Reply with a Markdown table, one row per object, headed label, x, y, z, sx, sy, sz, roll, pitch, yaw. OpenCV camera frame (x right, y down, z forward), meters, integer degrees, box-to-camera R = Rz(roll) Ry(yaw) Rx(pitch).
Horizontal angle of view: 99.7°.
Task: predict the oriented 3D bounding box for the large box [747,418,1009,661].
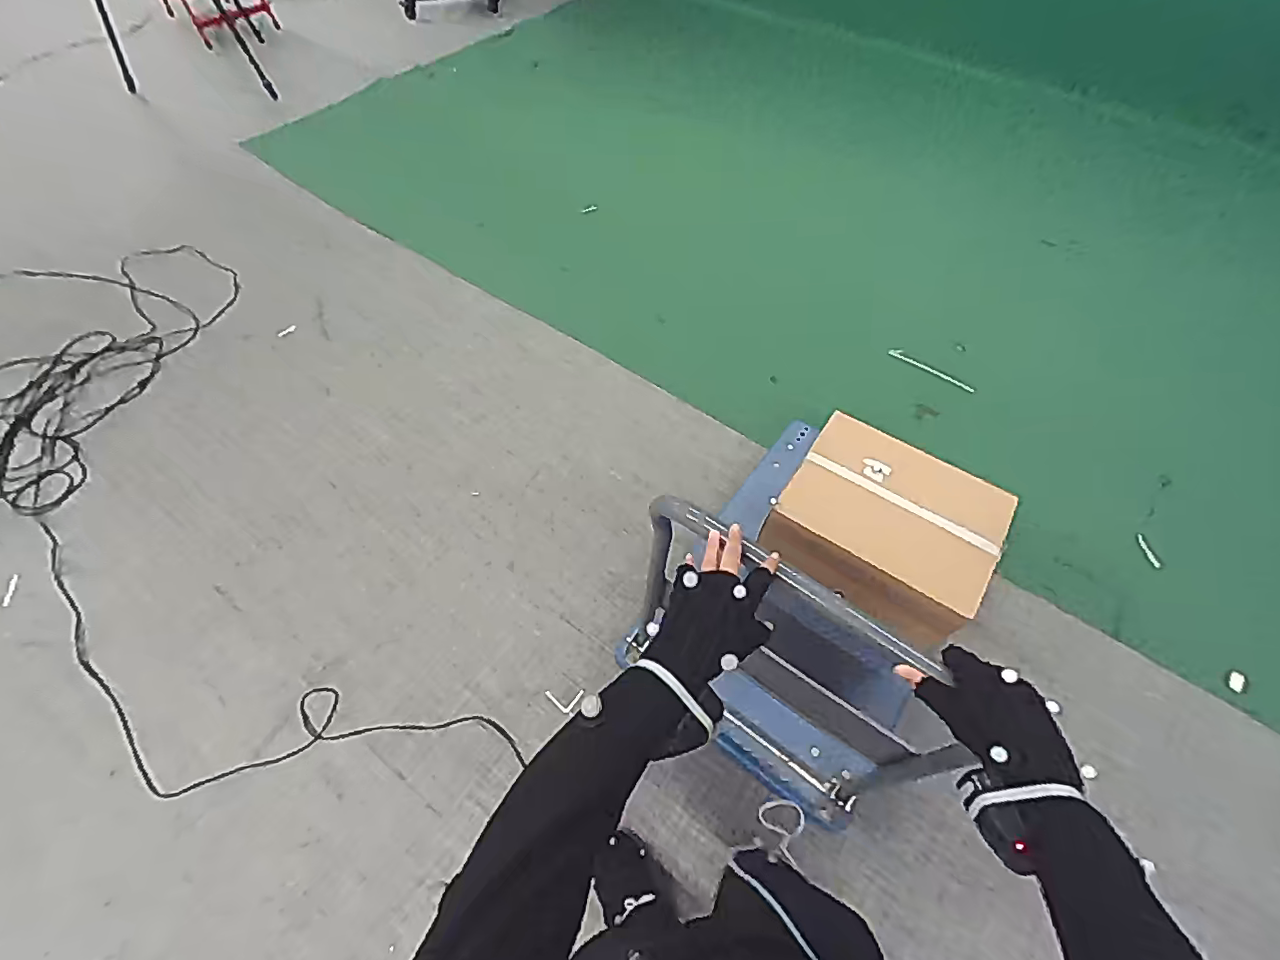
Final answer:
| label | x | y | z | sx | sy | sz | roll | pitch | yaw |
| --- | --- | --- | --- | --- | --- | --- | --- | --- | --- |
| large box | 0.506 | 0.137 | 1.218 | 0.408 | 0.320 | 0.320 | 31 | 62 | 19 |
